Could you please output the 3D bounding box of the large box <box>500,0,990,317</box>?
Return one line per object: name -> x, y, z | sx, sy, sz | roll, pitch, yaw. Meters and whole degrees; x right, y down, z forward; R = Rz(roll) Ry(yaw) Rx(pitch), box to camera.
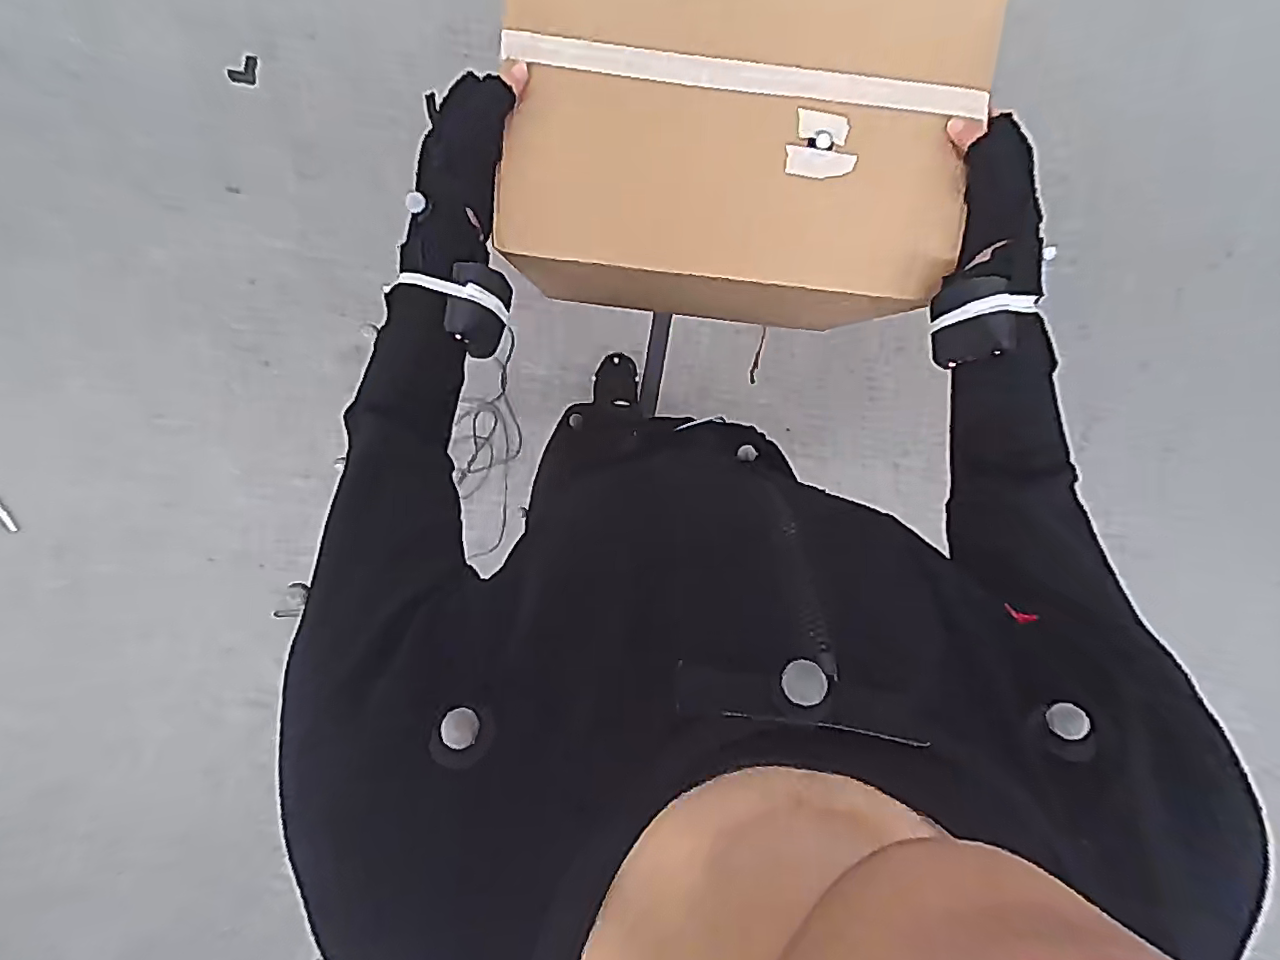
large box -> 0.080, -0.372, 0.601 | 0.408, 0.320, 0.320 | 6, 102, -3
